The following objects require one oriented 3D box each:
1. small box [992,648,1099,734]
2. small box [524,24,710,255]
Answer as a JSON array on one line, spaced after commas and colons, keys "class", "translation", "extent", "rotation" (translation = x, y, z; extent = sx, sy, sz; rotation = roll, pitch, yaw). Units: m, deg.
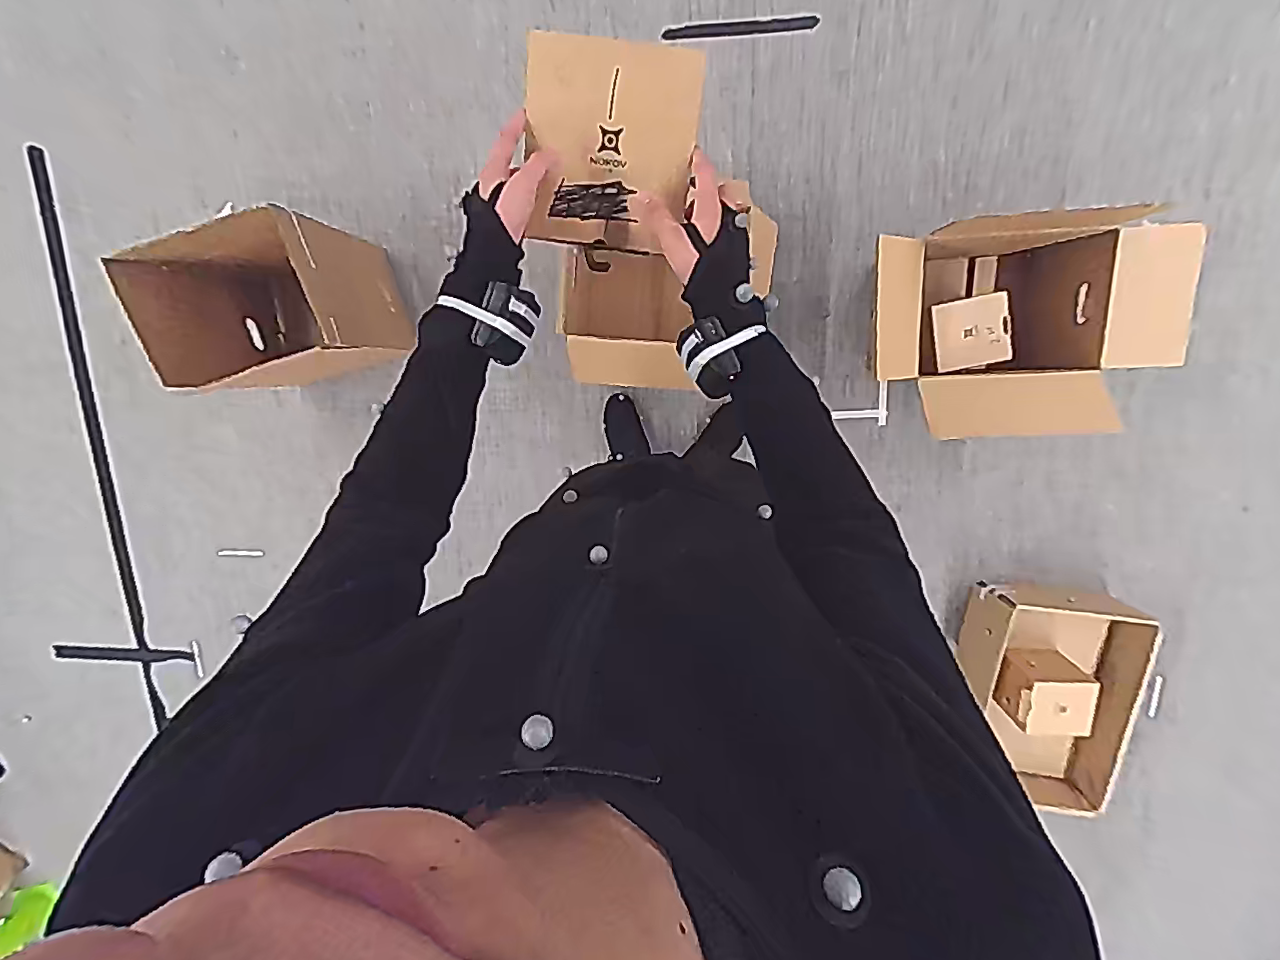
[{"class": "small box", "translation": [1.148, 0.597, 1.547], "extent": [0.179, 0.176, 0.168], "rotation": [1, 104, 4]}, {"class": "small box", "translation": [-0.020, -0.349, 0.589], "extent": [0.168, 0.176, 0.179], "rotation": [8, 113, 1]}]
